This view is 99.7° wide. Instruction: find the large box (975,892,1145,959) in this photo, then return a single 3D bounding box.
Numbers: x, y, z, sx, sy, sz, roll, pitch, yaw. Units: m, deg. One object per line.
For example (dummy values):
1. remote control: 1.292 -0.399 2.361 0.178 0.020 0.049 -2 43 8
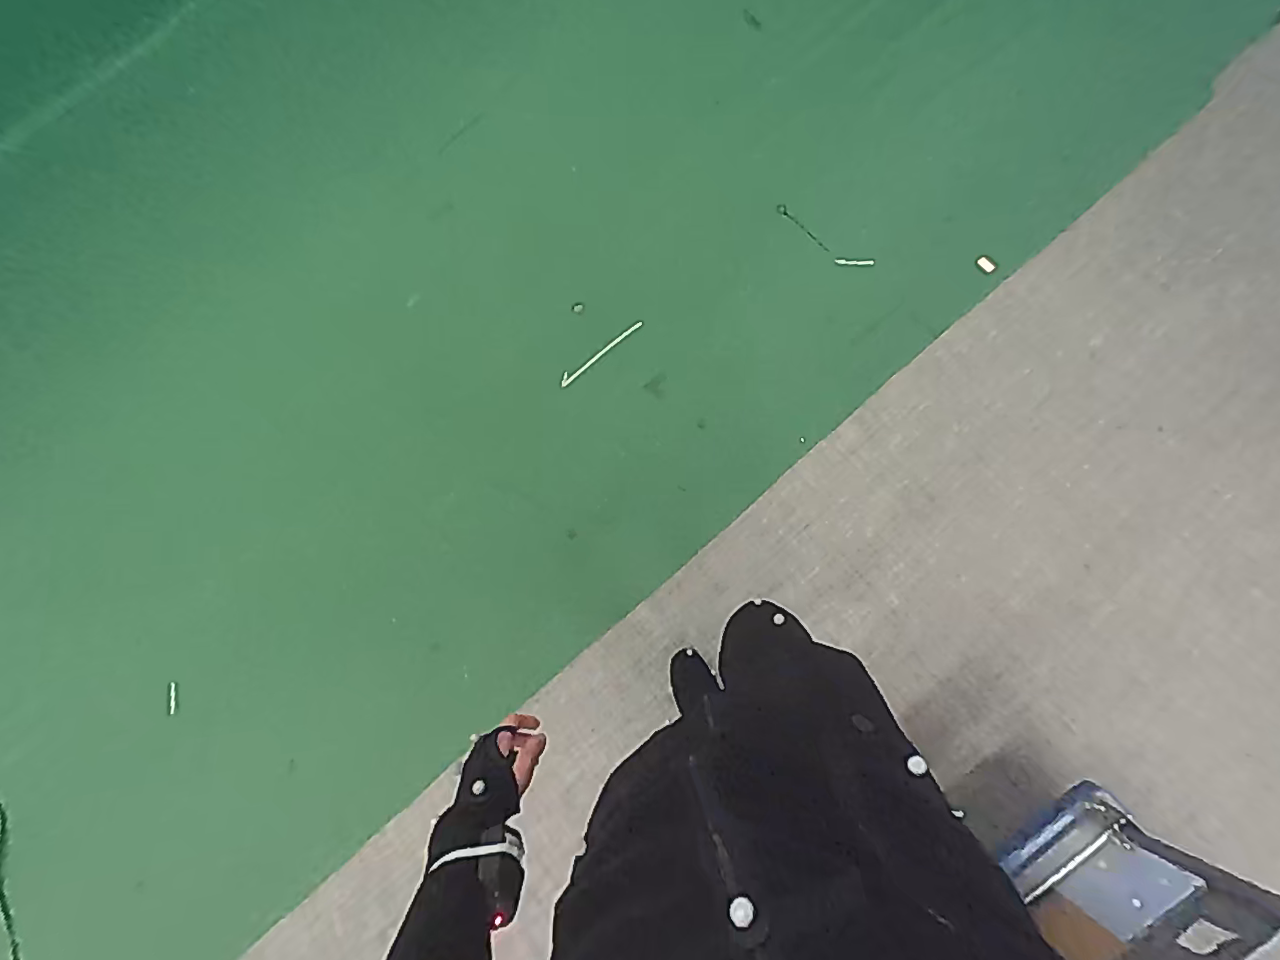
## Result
1. large box: 0.815 1.021 0.881 0.320 0.320 0.408 -37 75 -3
